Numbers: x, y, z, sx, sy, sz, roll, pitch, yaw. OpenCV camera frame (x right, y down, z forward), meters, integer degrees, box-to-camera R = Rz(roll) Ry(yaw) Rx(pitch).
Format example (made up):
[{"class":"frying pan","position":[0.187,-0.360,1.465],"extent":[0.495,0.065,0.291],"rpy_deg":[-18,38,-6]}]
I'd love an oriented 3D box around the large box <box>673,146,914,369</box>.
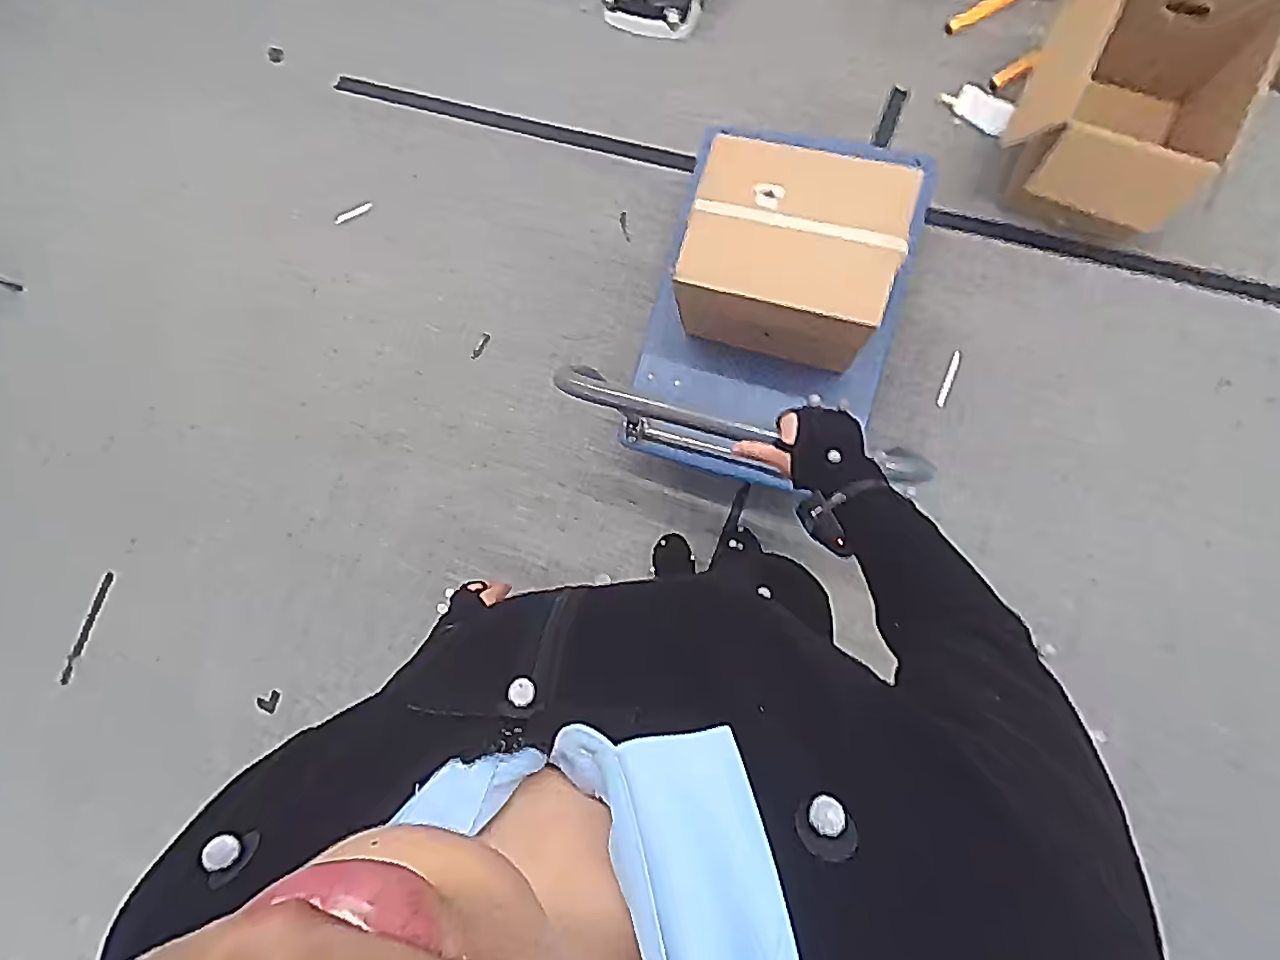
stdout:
[{"class":"large box","position":[0.322,-0.473,1.203],"extent":[0.408,0.320,0.320],"rpy_deg":[16,87,11]}]
